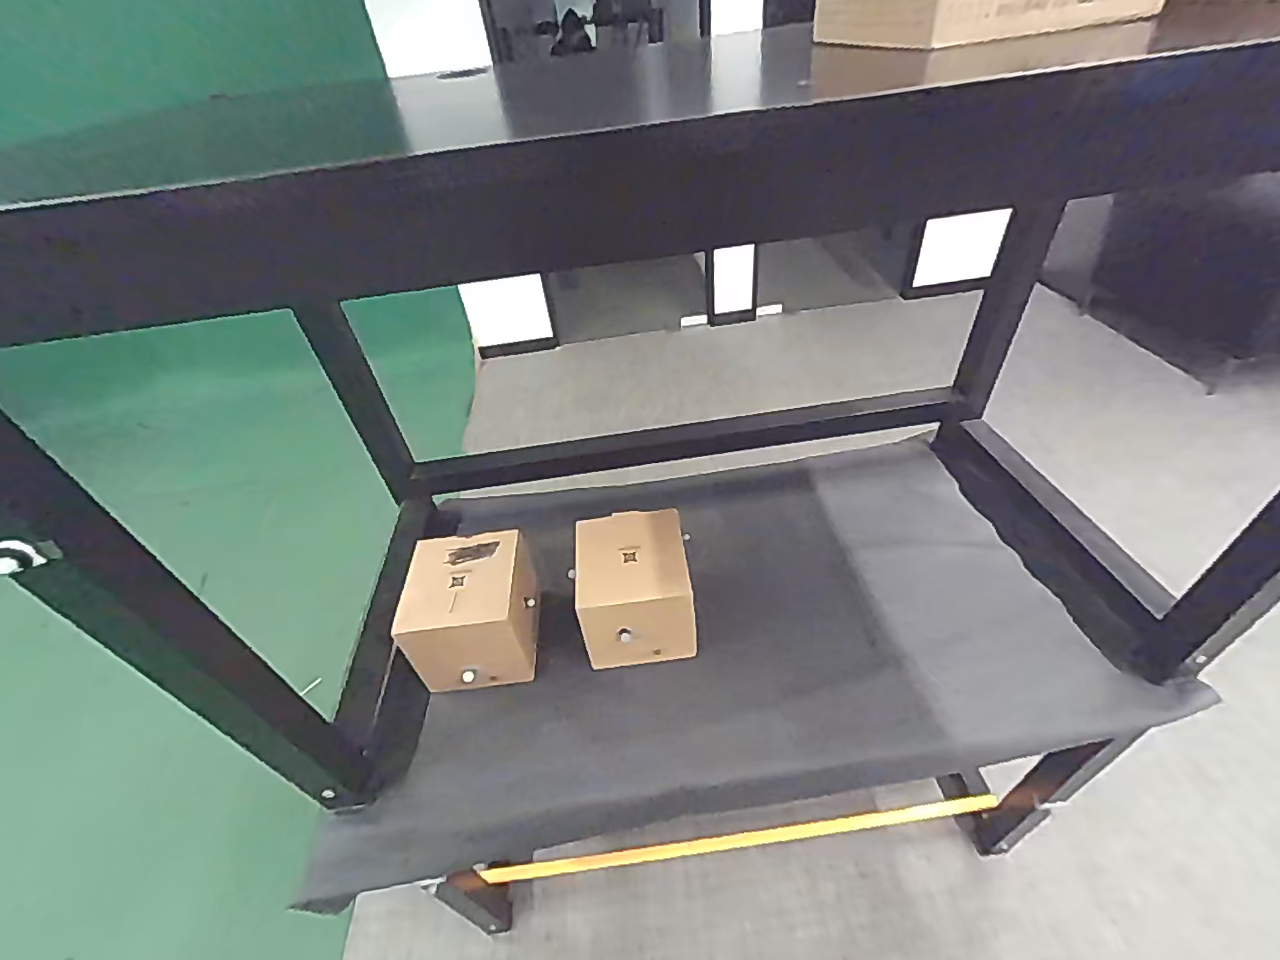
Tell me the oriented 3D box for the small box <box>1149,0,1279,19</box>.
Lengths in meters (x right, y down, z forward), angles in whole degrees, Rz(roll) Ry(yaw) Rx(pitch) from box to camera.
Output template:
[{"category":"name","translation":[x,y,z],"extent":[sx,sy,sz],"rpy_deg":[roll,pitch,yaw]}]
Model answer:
[{"category":"small box","translation":[0.488,-0.405,0.333],"extent":[0.168,0.176,0.179],"rpy_deg":[-1,41,8]}]

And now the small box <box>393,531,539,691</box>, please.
[{"category":"small box","translation":[-0.260,0.206,0.859],"extent":[0.168,0.176,0.179],"rpy_deg":[-7,41,0]}]

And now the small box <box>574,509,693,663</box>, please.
[{"category":"small box","translation":[-0.009,0.174,0.863],"extent":[0.168,0.176,0.179],"rpy_deg":[-7,41,0]}]
